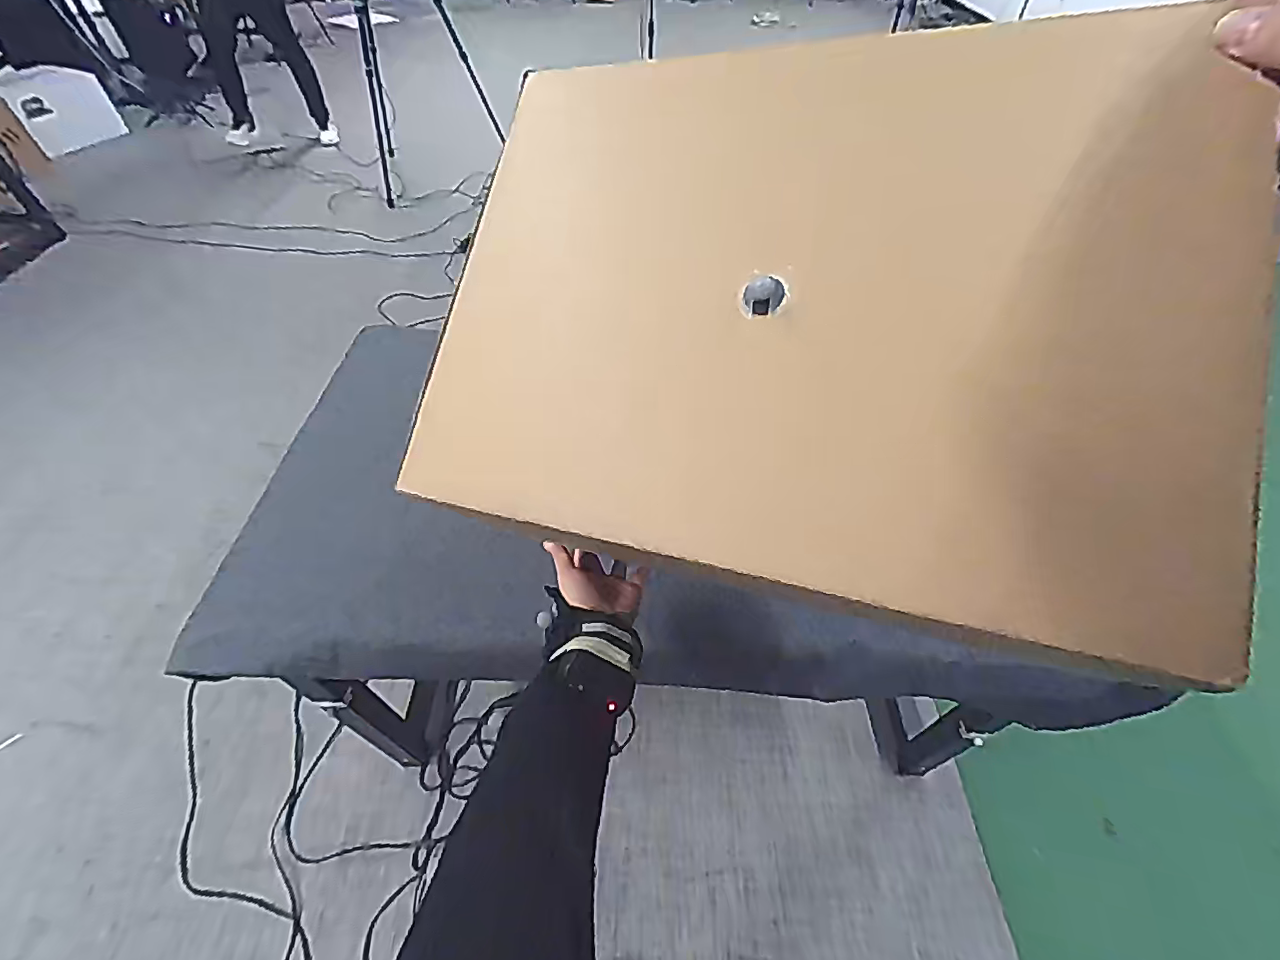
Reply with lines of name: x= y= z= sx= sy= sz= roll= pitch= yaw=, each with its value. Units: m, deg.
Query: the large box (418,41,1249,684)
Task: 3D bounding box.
large box: x=0.116 y=-0.061 z=0.433 sx=0.408 sy=0.320 sz=0.320 roll=9 pitch=79 yaw=20
